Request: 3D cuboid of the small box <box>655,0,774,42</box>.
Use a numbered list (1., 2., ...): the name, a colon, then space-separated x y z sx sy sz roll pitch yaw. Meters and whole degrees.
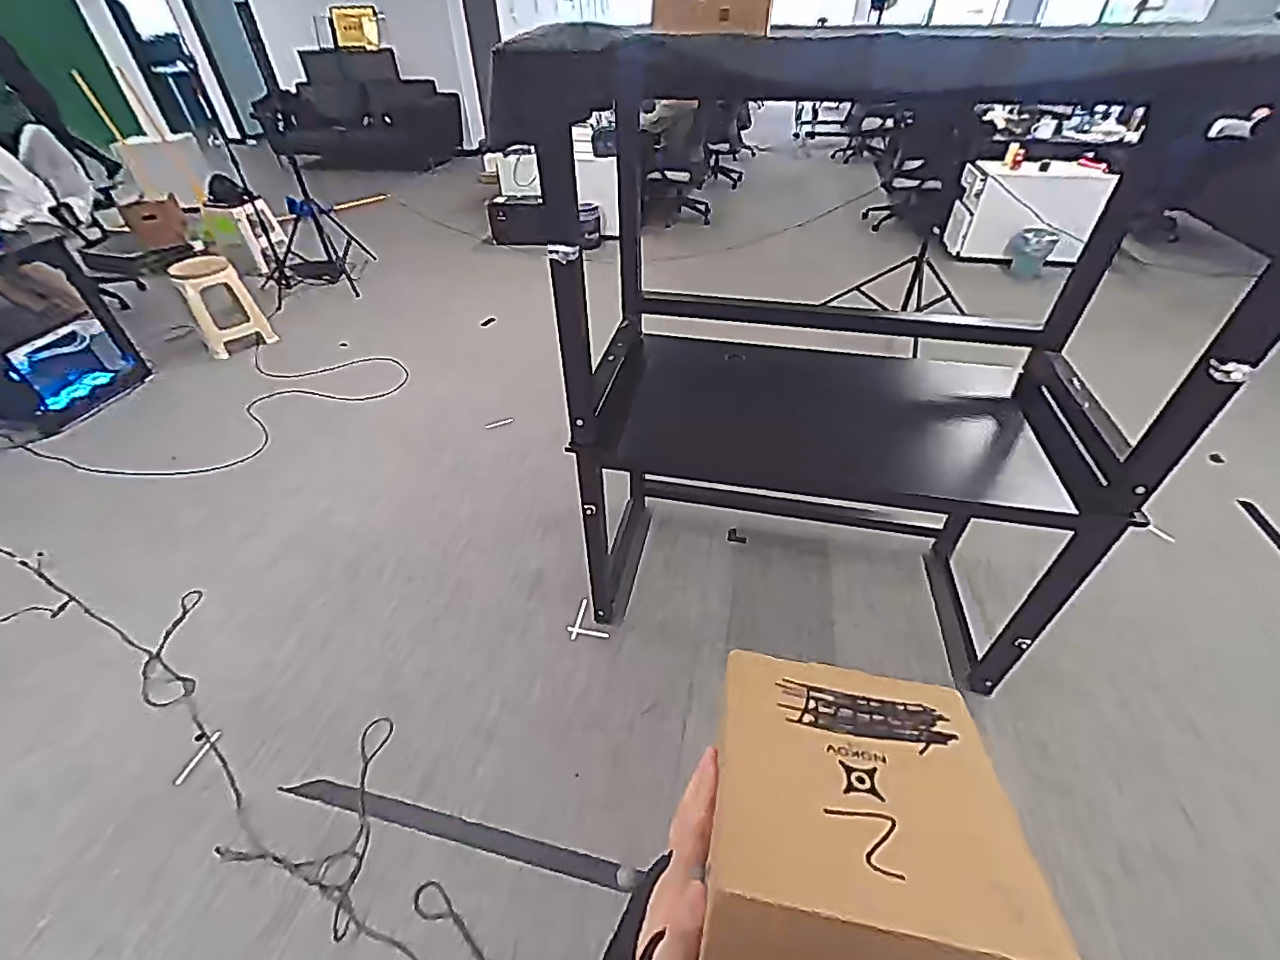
1. small box: 0.116 -0.743 0.773 0.168 0.176 0.179 8 41 8
